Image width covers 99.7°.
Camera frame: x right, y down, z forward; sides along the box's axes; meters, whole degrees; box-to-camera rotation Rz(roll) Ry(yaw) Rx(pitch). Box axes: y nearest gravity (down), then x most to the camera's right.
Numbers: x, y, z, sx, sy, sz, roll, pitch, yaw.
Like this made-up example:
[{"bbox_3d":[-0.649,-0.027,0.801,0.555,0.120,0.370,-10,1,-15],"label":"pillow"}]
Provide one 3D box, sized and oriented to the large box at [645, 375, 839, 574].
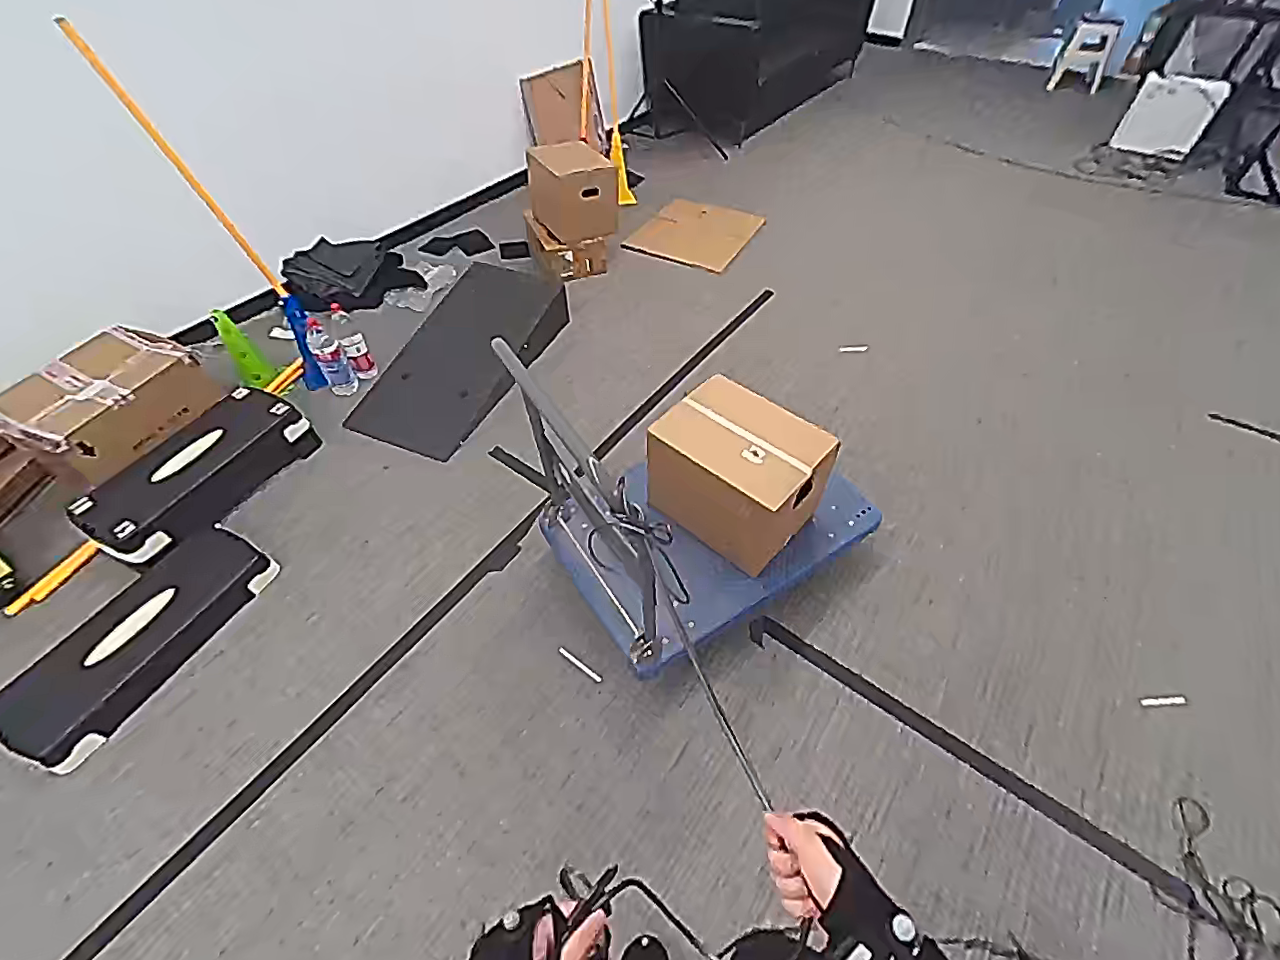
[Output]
[{"bbox_3d":[0.260,-0.019,1.503,0.408,0.320,0.320,35,60,25],"label":"large box"}]
